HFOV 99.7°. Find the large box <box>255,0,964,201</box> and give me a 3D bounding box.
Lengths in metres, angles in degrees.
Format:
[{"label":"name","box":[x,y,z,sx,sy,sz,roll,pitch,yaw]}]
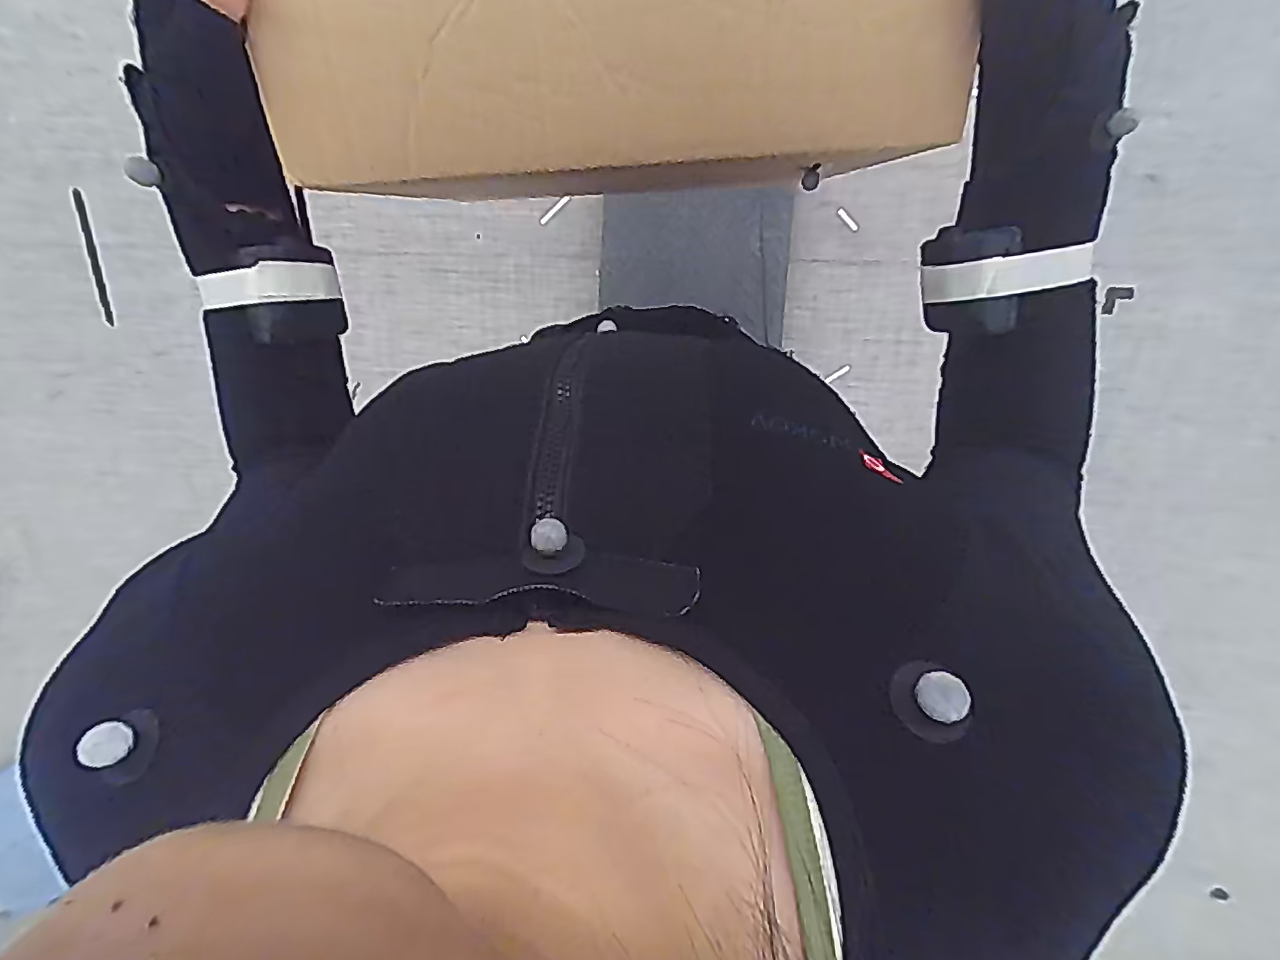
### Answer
[{"label":"large box","box":[-0.016,-0.397,0.406,0.408,0.320,0.320,-2,115,4]}]
